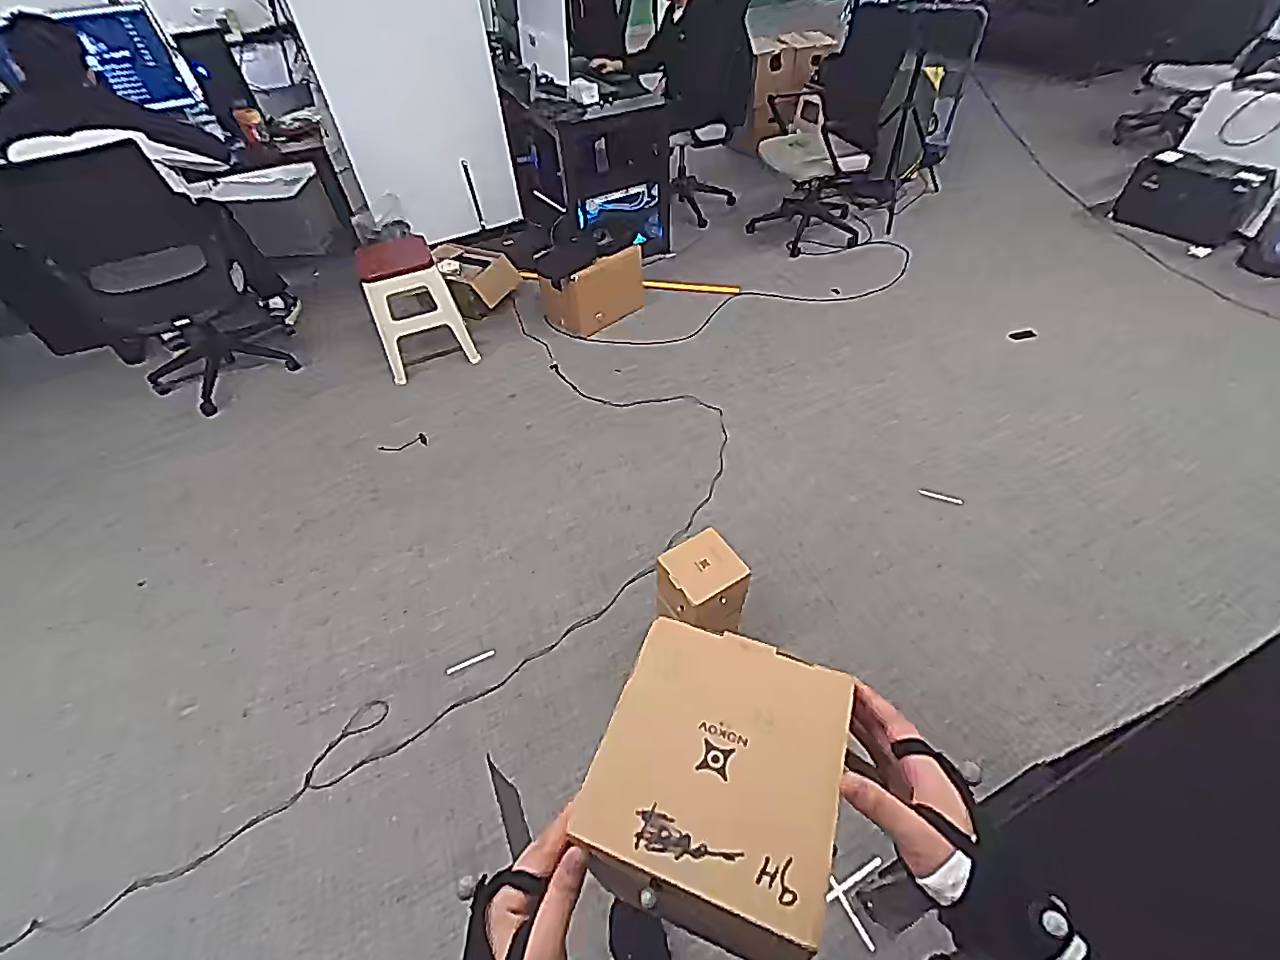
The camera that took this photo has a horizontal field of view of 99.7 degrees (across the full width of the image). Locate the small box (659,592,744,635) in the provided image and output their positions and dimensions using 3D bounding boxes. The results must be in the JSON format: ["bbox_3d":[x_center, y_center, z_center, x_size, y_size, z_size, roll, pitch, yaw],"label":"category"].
[{"bbox_3d":[0.167,0.386,1.519,0.179,0.176,0.168,-25,51,-16],"label":"small box"}]

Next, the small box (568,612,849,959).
[{"bbox_3d":[0.063,0.245,0.443,0.168,0.176,0.179,11,45,20],"label":"small box"}]

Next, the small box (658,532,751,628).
[{"bbox_3d":[0.164,0.274,1.401,0.179,0.176,0.168,-26,53,-20],"label":"small box"}]
